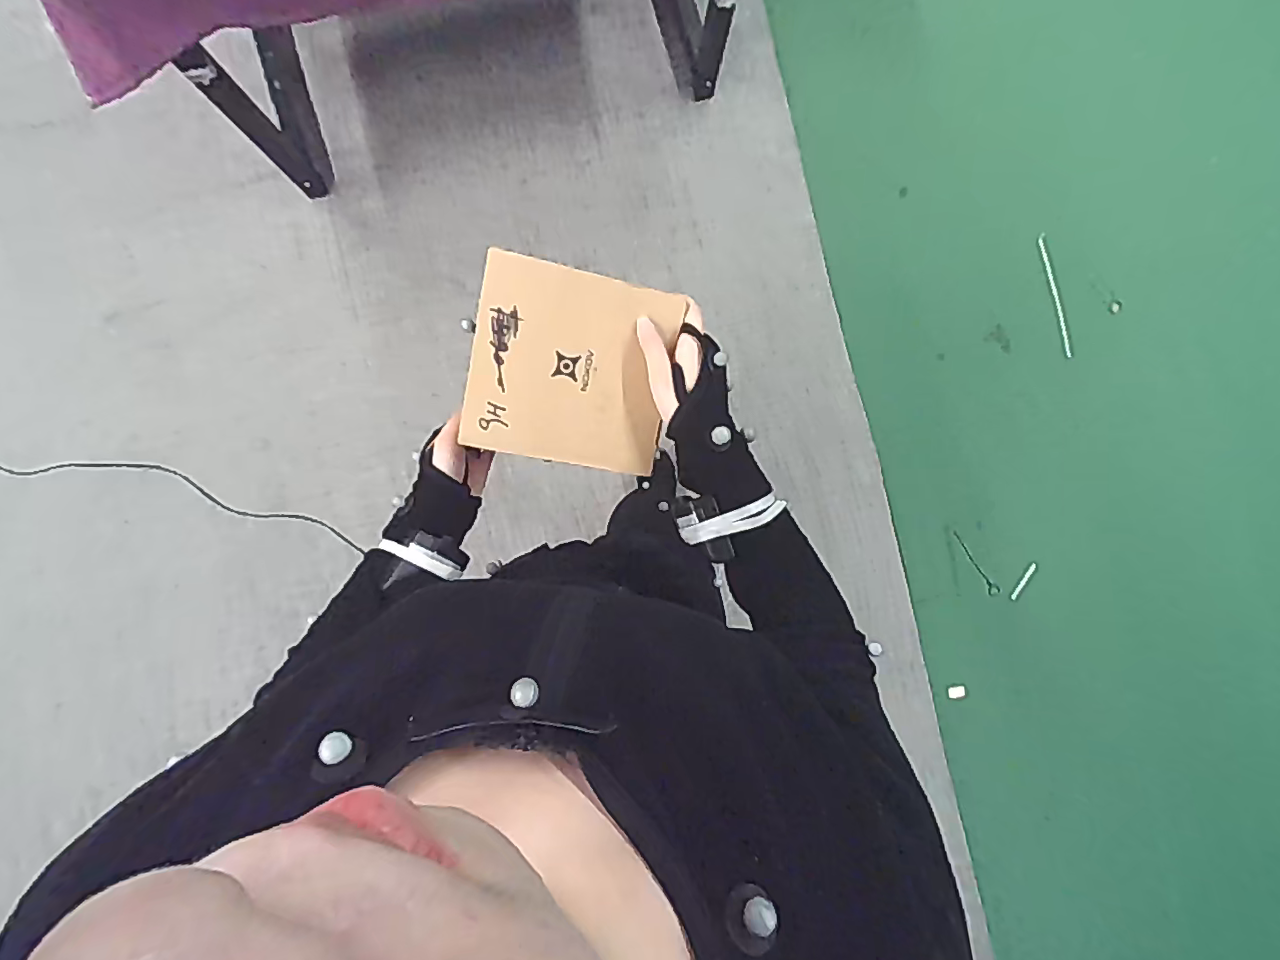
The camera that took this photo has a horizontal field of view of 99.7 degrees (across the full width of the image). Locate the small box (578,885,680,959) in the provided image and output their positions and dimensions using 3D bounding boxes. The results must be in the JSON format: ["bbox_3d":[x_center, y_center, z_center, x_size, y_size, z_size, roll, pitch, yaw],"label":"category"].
[{"bbox_3d":[-0.011,0.860,0.938,0.168,0.176,0.179,-9,90,-3],"label":"small box"}]

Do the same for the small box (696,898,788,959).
[{"bbox_3d":[0.224,1.029,1.121,0.168,0.176,0.179,-13,93,-5],"label":"small box"}]
